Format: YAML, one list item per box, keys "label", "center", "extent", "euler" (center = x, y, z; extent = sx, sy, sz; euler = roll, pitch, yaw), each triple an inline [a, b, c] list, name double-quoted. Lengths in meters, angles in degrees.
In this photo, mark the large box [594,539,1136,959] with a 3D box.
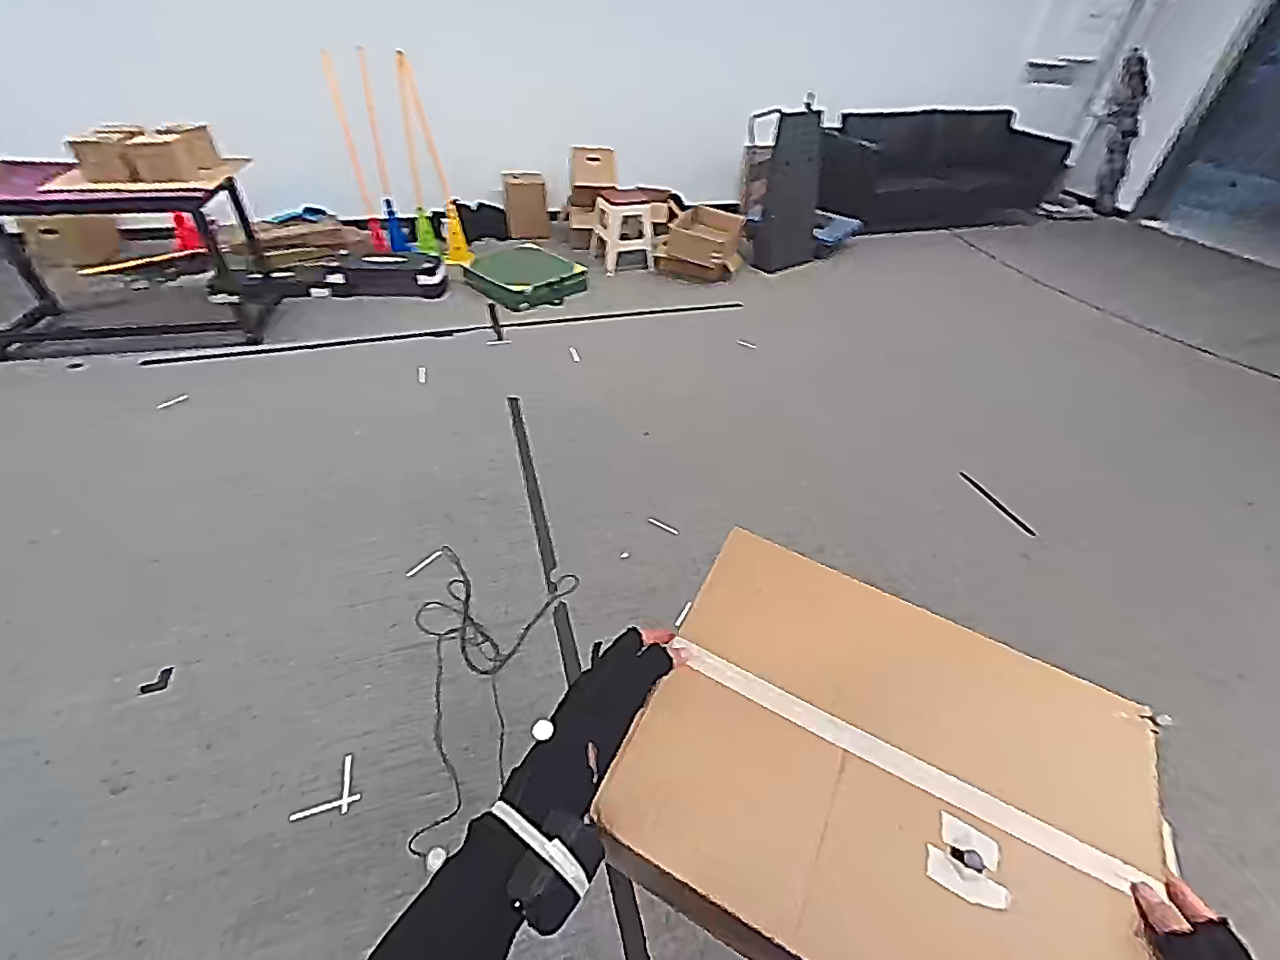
- label: "large box"
  center: [0.193, 0.332, 0.584]
  extent: [0.408, 0.320, 0.320]
  euler: [23, 54, 14]
